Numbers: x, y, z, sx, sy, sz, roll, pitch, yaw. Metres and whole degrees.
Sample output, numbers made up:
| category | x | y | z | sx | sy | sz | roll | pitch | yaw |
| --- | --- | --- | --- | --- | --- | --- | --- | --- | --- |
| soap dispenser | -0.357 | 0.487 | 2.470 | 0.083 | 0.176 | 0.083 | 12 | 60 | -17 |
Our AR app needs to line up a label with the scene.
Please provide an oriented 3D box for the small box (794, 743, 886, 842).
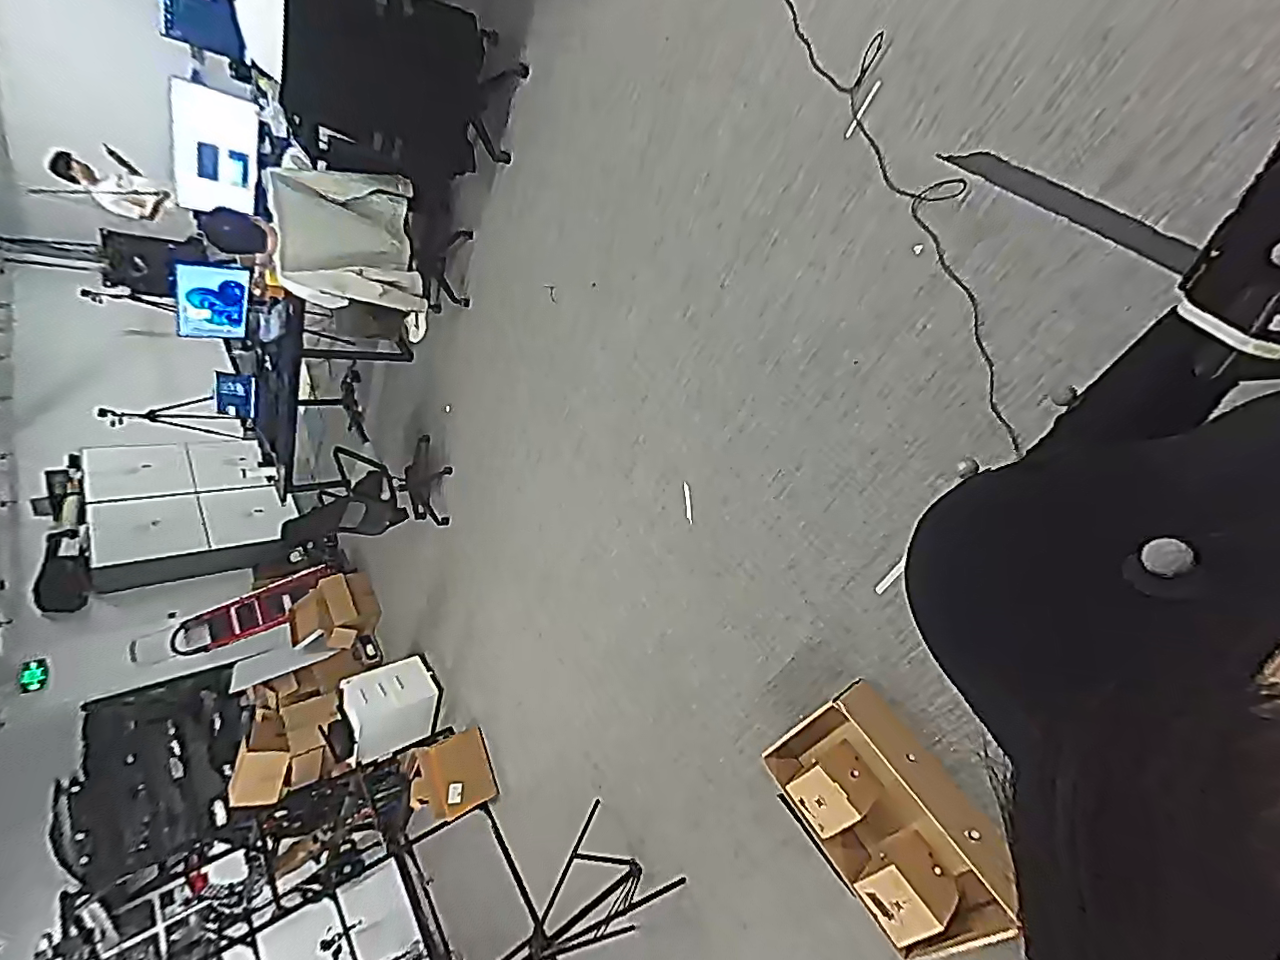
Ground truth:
| category | x | y | z | sx | sy | sz | roll | pitch | yaw |
| --- | --- | --- | --- | --- | --- | --- | --- | --- | --- |
| small box | 0.600 | 0.920 | 1.604 | 0.168 | 0.176 | 0.179 | 50 | 127 | 25 |
